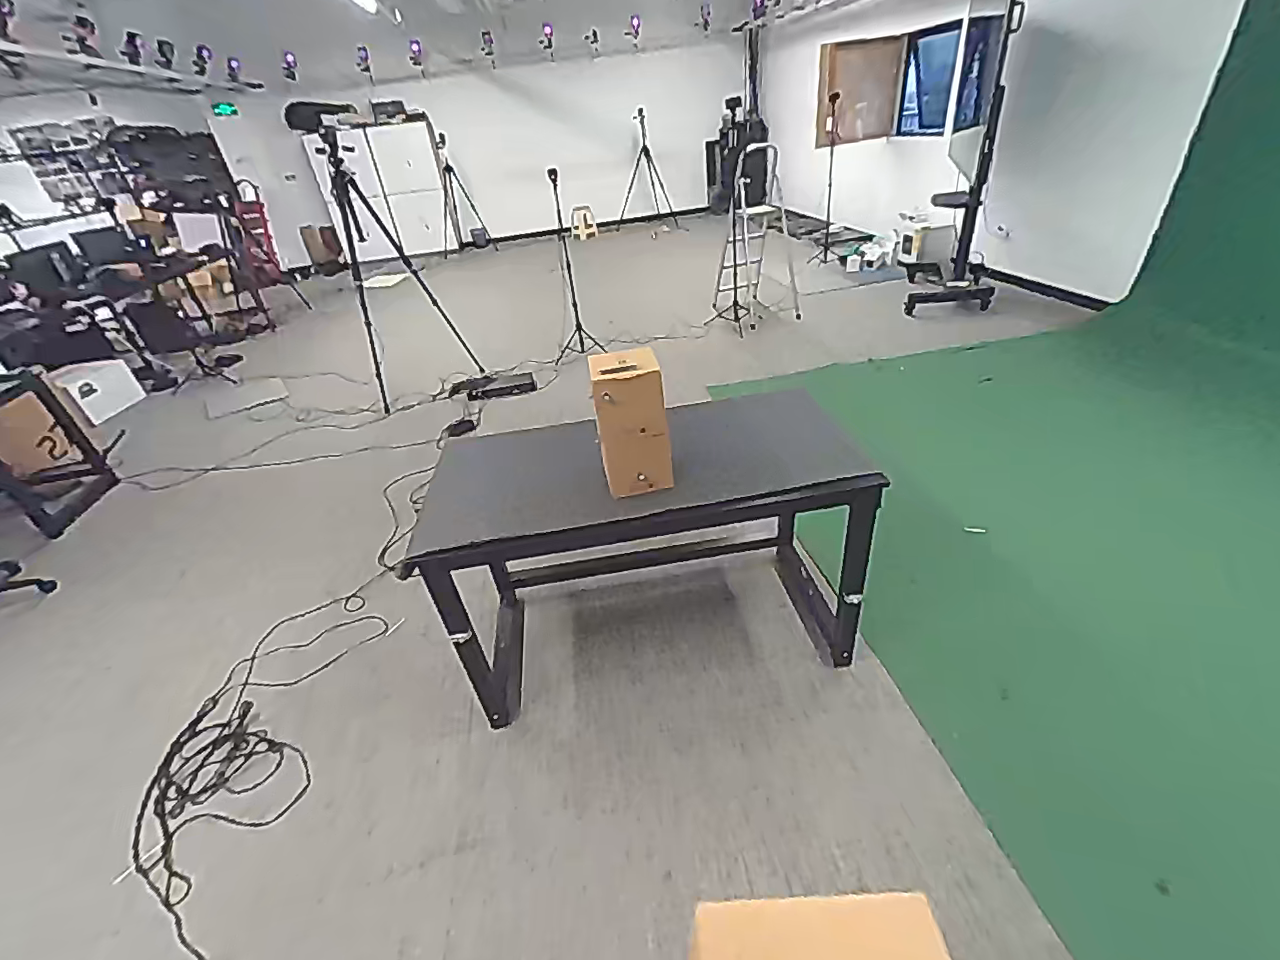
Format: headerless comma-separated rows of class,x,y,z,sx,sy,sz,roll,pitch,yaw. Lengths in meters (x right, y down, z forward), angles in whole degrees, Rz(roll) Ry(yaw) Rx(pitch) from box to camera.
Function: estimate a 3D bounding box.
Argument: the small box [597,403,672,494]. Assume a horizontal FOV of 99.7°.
small box,-0.016,-0.084,1.441,0.168,0.176,0.179,-11,33,-6
